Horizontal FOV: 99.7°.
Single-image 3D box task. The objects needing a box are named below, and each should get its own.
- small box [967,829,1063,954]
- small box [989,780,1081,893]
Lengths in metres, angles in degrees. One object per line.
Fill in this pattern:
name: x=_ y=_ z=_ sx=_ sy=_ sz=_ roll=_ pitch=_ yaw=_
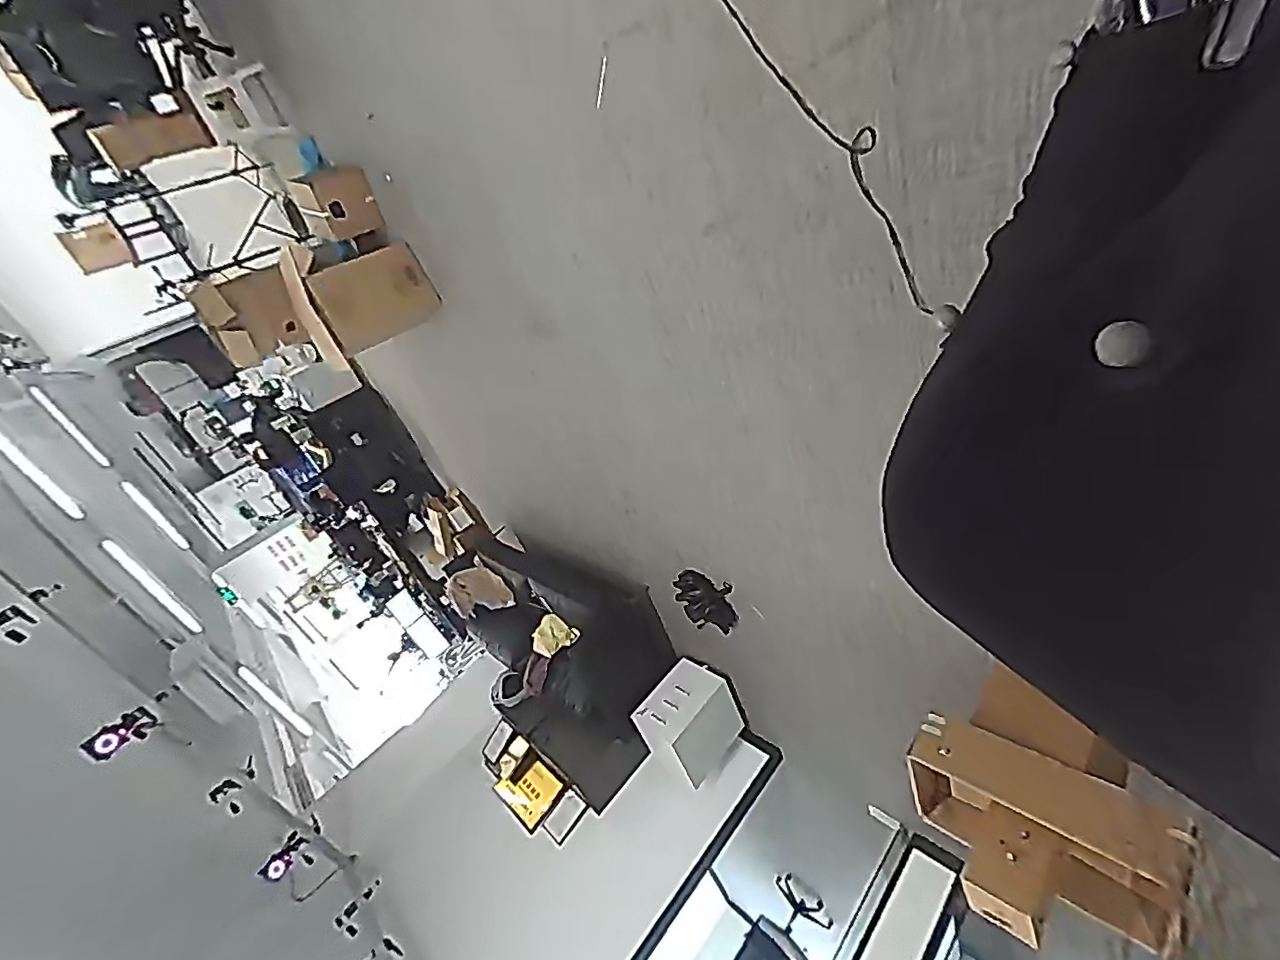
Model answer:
small box: x=1.011 y=1.096 z=1.453 sx=0.168 sy=0.176 sz=0.179 roll=5 pitch=128 yaw=51
small box: x=1.121 y=1.001 z=1.530 sx=0.168 sy=0.176 sz=0.179 roll=4 pitch=128 yaw=51
